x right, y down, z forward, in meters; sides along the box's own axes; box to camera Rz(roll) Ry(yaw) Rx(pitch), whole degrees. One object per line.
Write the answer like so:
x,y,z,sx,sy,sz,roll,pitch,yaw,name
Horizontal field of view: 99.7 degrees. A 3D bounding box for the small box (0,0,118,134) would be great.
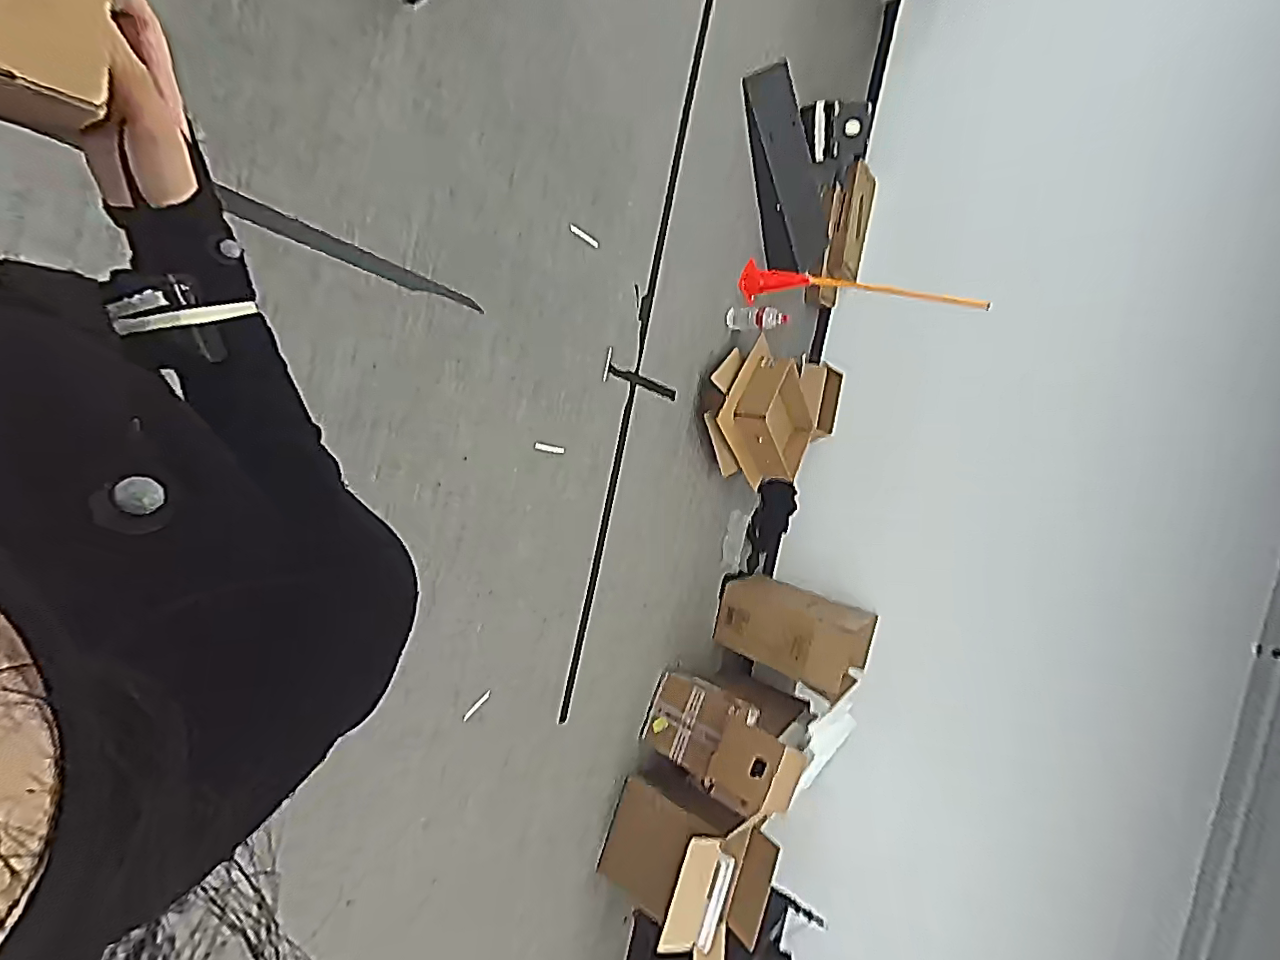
-0.361,-0.288,0.247,0.168,0.176,0.179,-1,108,-52,small box
